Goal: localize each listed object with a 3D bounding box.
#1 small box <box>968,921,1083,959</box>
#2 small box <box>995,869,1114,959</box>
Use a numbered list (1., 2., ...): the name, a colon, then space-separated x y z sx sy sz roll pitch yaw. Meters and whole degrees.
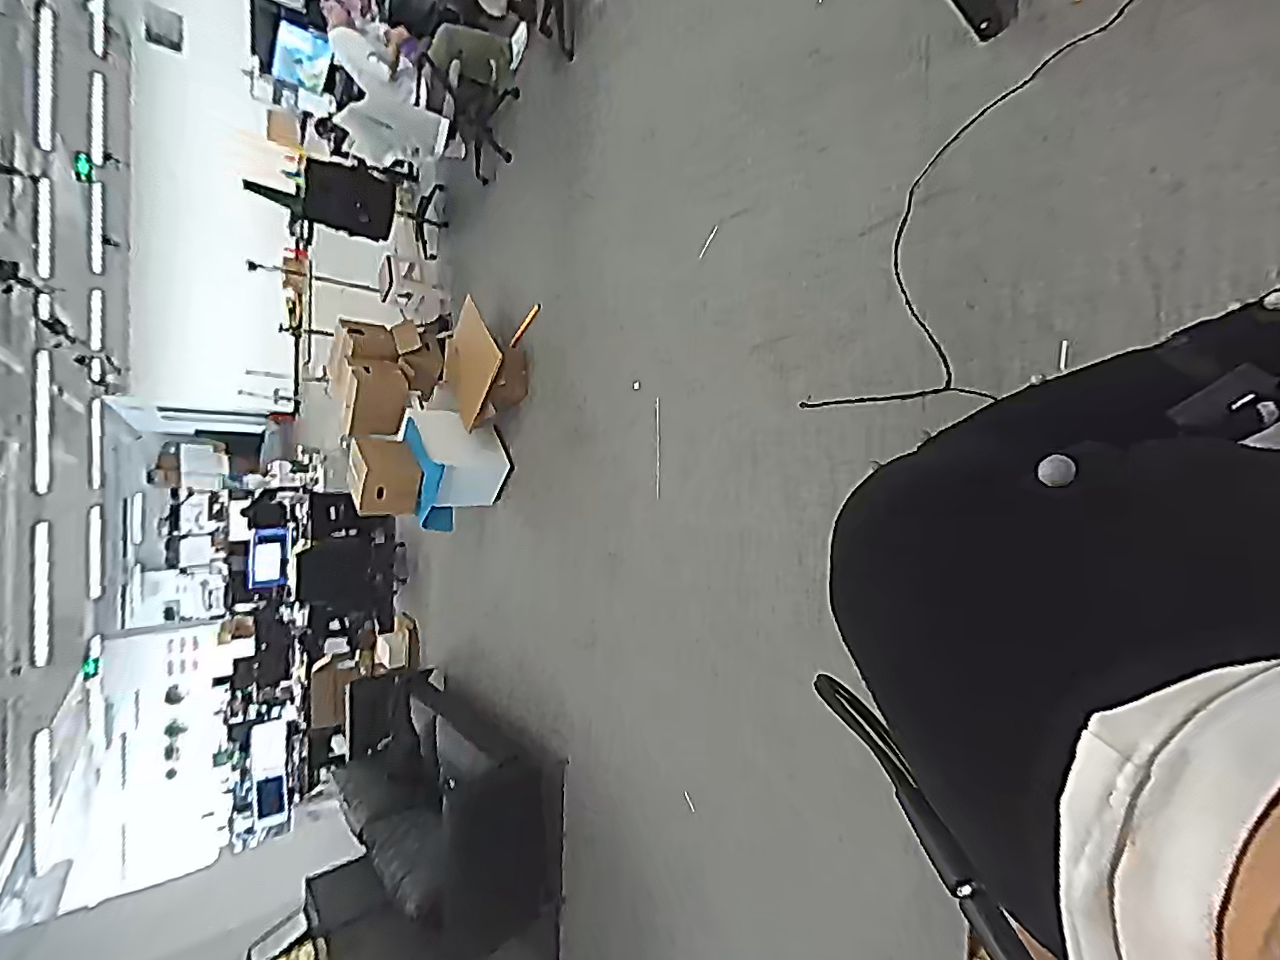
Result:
1. small box: 0.837 1.075 1.137 0.168 0.176 0.179 -35 64 44
2. small box: 0.957 1.046 1.248 0.168 0.176 0.179 -21 74 47
